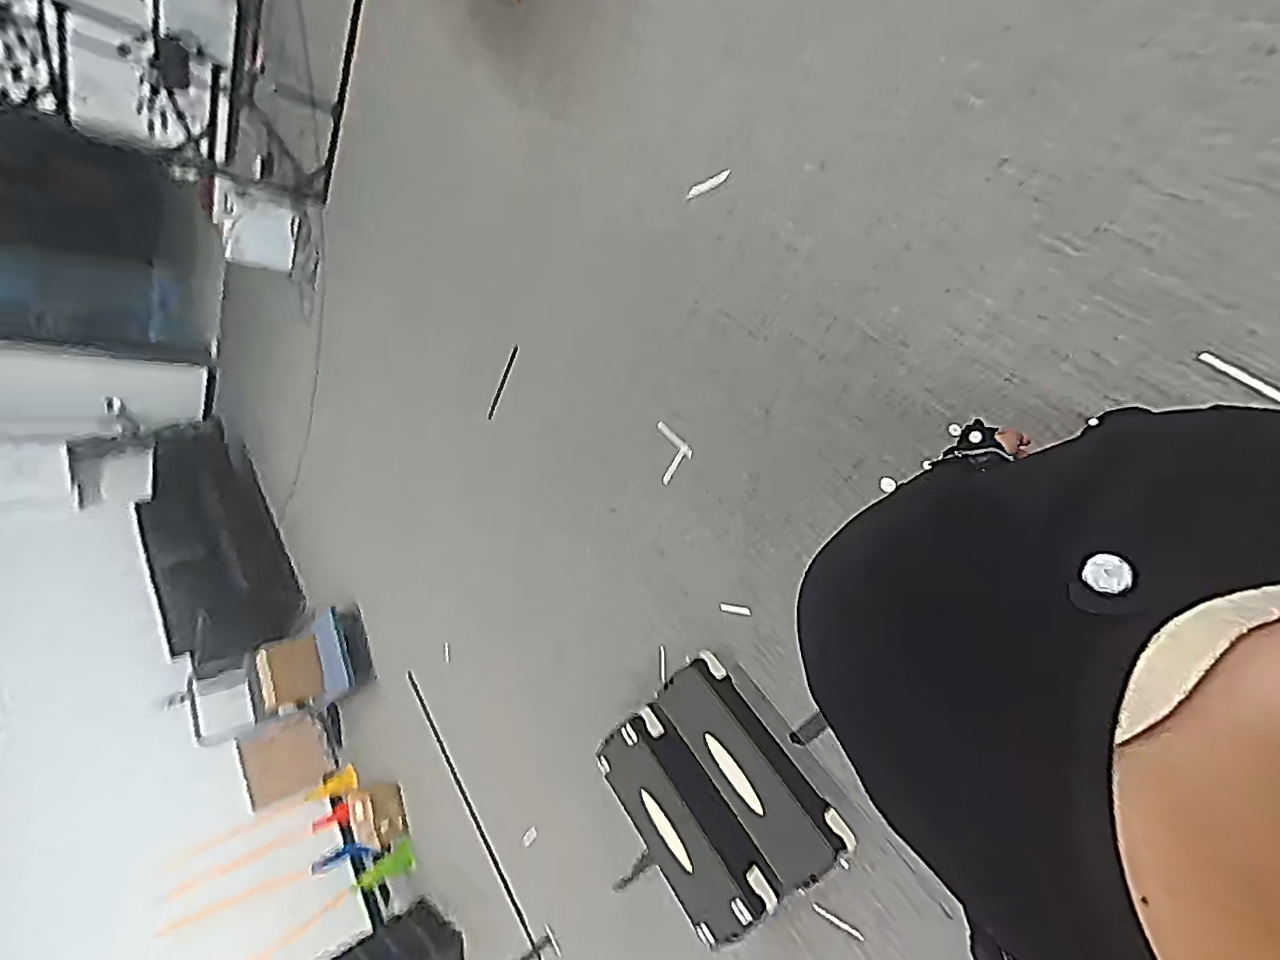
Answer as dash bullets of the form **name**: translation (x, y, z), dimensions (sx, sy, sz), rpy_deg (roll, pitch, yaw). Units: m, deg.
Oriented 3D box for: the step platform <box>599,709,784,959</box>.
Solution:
- **step platform**: translation (0.141, 1.121, 1.738), dimensions (0.286, 0.204, 0.684), rpy_deg (-52, 58, 31)
